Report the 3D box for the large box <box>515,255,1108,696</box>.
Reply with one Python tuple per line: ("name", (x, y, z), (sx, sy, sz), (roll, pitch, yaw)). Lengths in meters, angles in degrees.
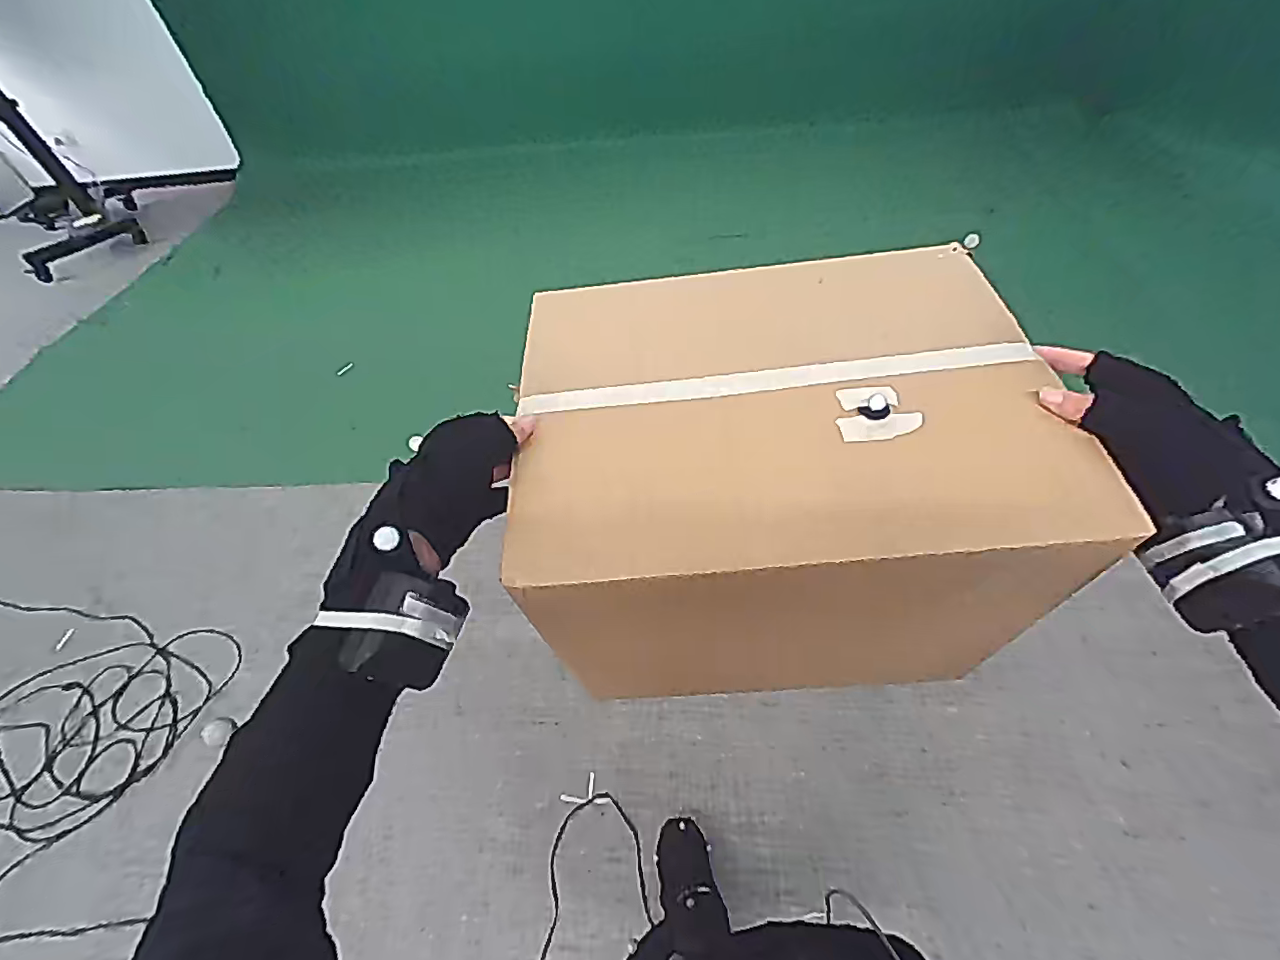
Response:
("large box", (0.115, 0.014, 0.565), (0.408, 0.320, 0.320), (-6, 55, 4))
